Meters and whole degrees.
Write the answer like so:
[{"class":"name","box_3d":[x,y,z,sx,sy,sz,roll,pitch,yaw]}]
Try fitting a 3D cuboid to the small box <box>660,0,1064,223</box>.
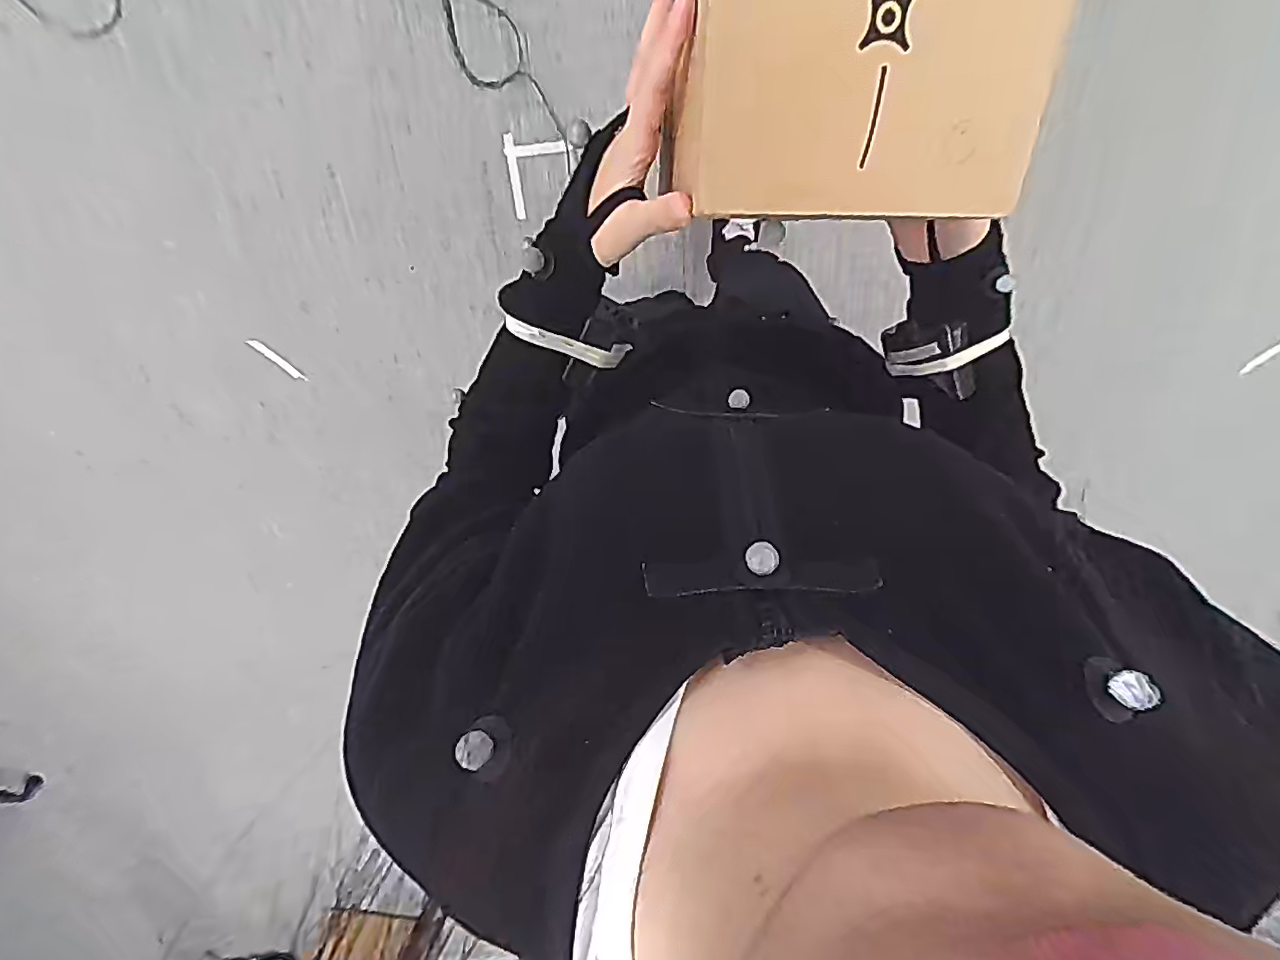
[{"class":"small box","box_3d":[0.103,-0.247,0.312,0.168,0.176,0.179,-2,116,-5]}]
